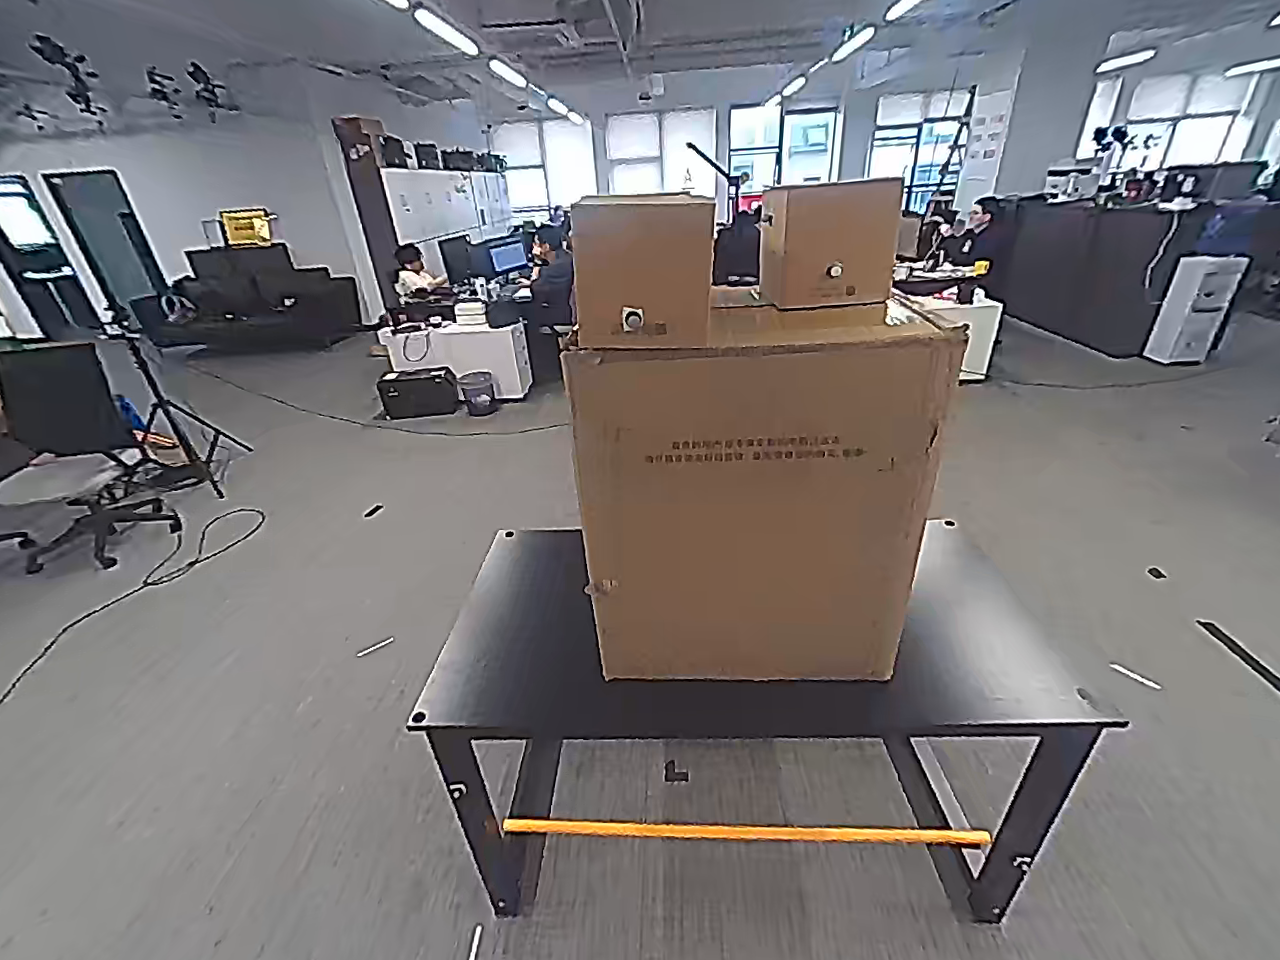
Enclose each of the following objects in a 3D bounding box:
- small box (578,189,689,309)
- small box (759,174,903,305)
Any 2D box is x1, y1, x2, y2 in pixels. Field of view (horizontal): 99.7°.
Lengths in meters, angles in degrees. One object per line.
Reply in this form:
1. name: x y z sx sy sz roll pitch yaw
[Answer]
1. small box: -0.006 -0.383 0.899 0.168 0.176 0.179 -2 27 2
2. small box: 0.285 -0.377 0.852 0.168 0.176 0.179 -4 28 2
